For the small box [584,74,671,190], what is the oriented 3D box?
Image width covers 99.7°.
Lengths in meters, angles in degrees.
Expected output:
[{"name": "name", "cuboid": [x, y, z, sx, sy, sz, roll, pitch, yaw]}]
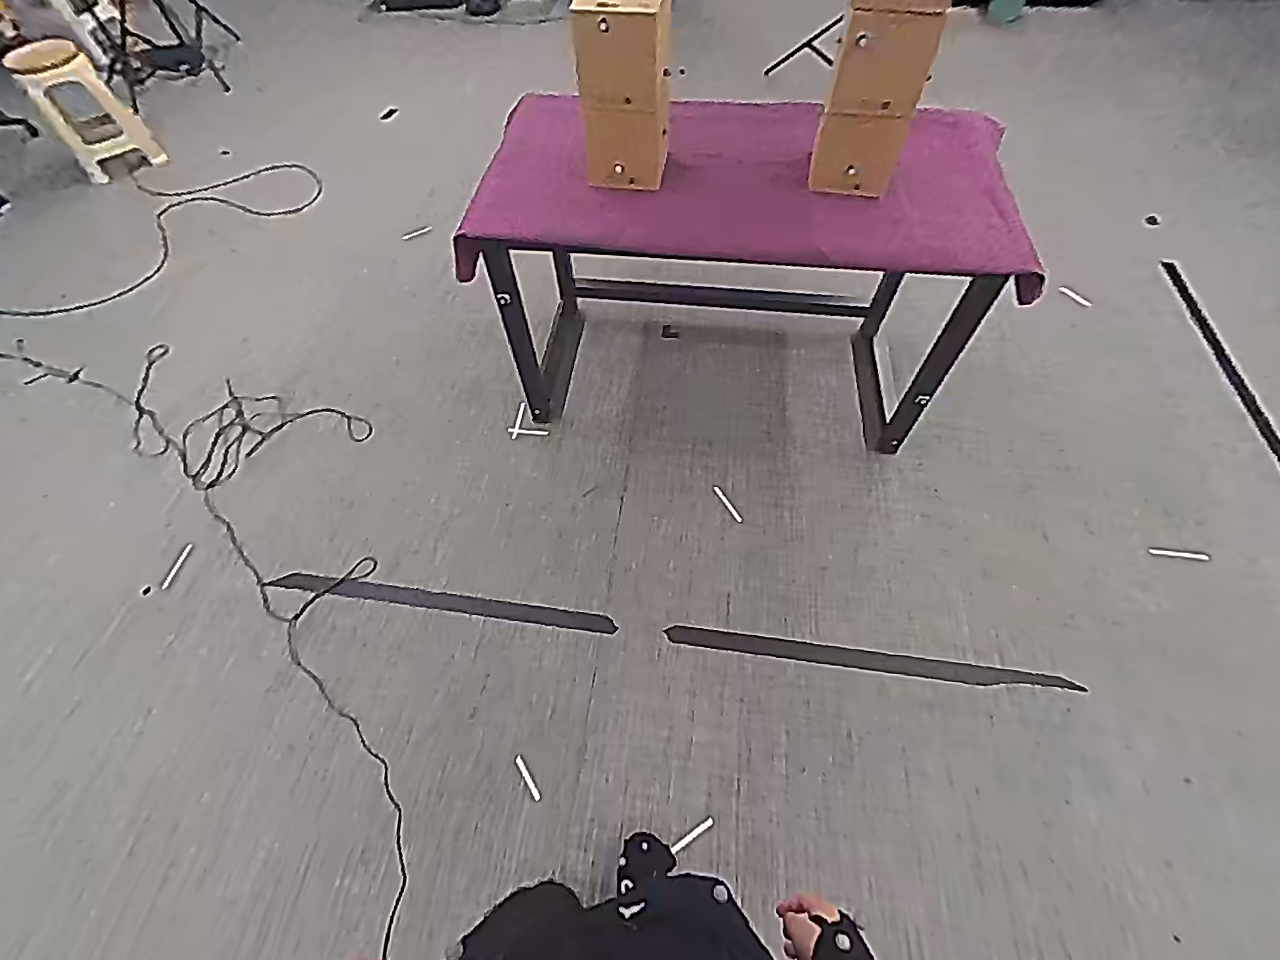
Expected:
[{"name": "small box", "cuboid": [-0.023, -0.791, 1.225, 0.168, 0.176, 0.179, 7, 60, 6]}]

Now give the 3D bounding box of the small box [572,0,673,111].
[{"name": "small box", "cuboid": [-0.029, -0.876, 1.085, 0.168, 0.176, 0.179, 8, 59, 7]}]

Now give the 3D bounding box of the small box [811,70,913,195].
[{"name": "small box", "cuboid": [0.482, -0.763, 1.191, 0.168, 0.176, 0.179, 10, 60, 9]}]

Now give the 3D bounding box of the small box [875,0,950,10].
[{"name": "small box", "cuboid": [0.468, -0.928, 0.909, 0.168, 0.176, 0.179, 12, 59, 8]}]
